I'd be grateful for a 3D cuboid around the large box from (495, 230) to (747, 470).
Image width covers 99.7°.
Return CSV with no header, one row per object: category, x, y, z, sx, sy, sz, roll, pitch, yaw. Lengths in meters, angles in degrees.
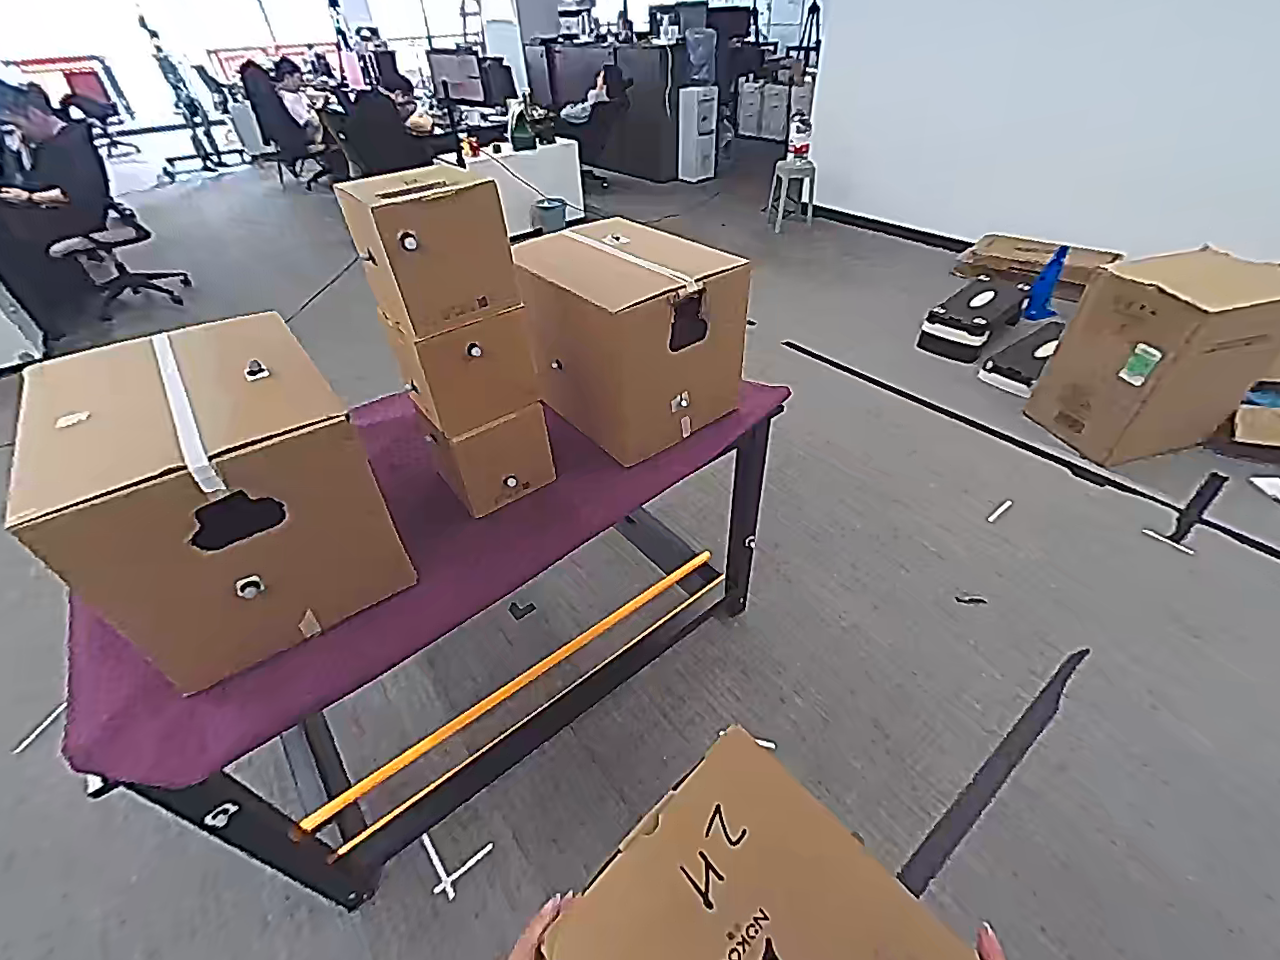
large box,-0.036,-0.283,1.111,0.320,0.320,0.408,-29,46,-27
